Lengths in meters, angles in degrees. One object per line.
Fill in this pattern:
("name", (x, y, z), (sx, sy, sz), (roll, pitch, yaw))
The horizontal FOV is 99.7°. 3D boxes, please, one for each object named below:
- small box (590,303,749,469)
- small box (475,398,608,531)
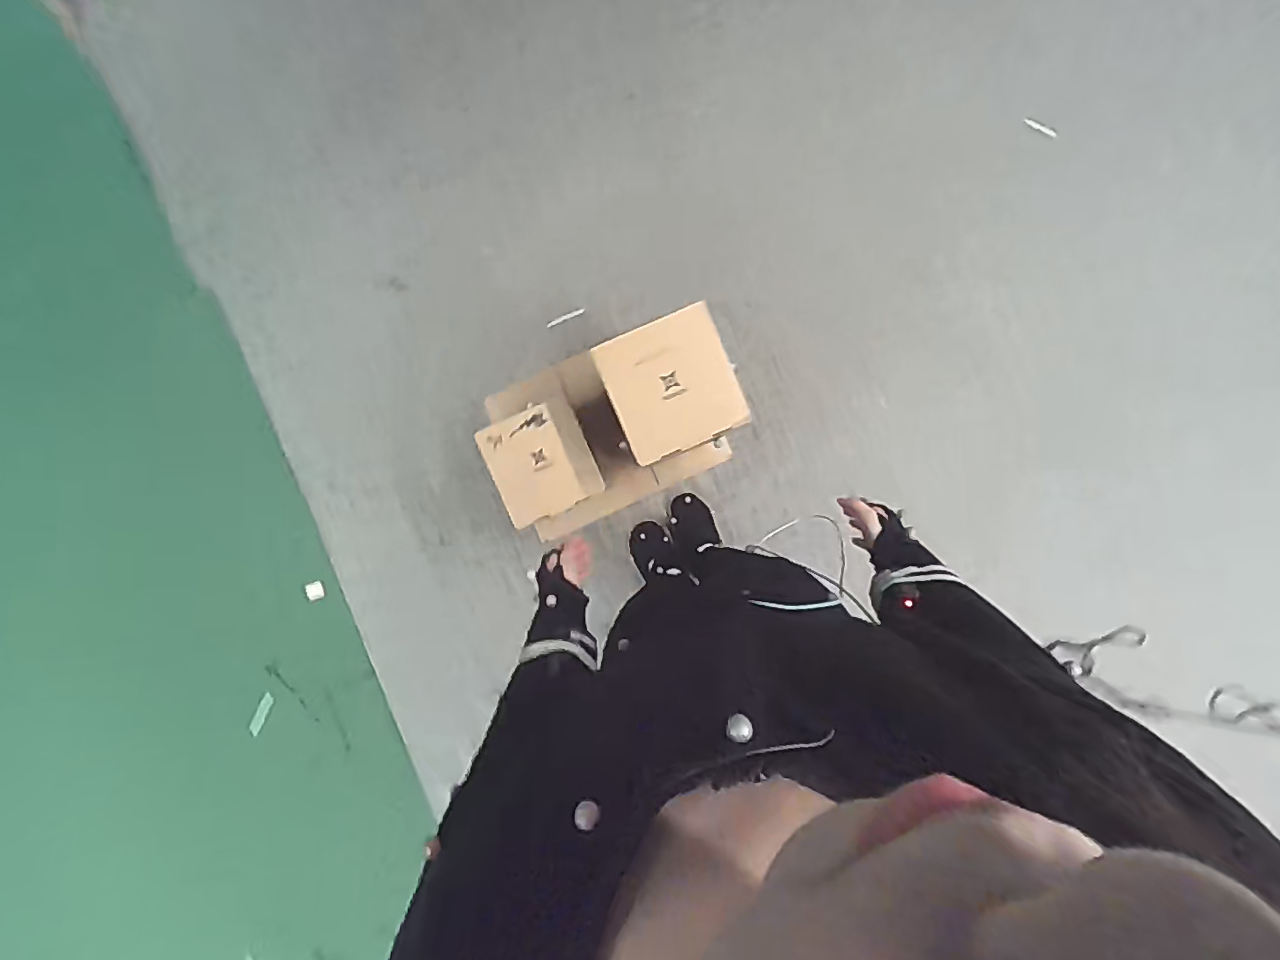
("small box", (0.042, -0.127, 0.796), (0.168, 0.176, 0.179), (-23, 89, 2))
("small box", (-0.164, -0.028, 0.963), (0.168, 0.176, 0.179), (-24, 91, -1))
